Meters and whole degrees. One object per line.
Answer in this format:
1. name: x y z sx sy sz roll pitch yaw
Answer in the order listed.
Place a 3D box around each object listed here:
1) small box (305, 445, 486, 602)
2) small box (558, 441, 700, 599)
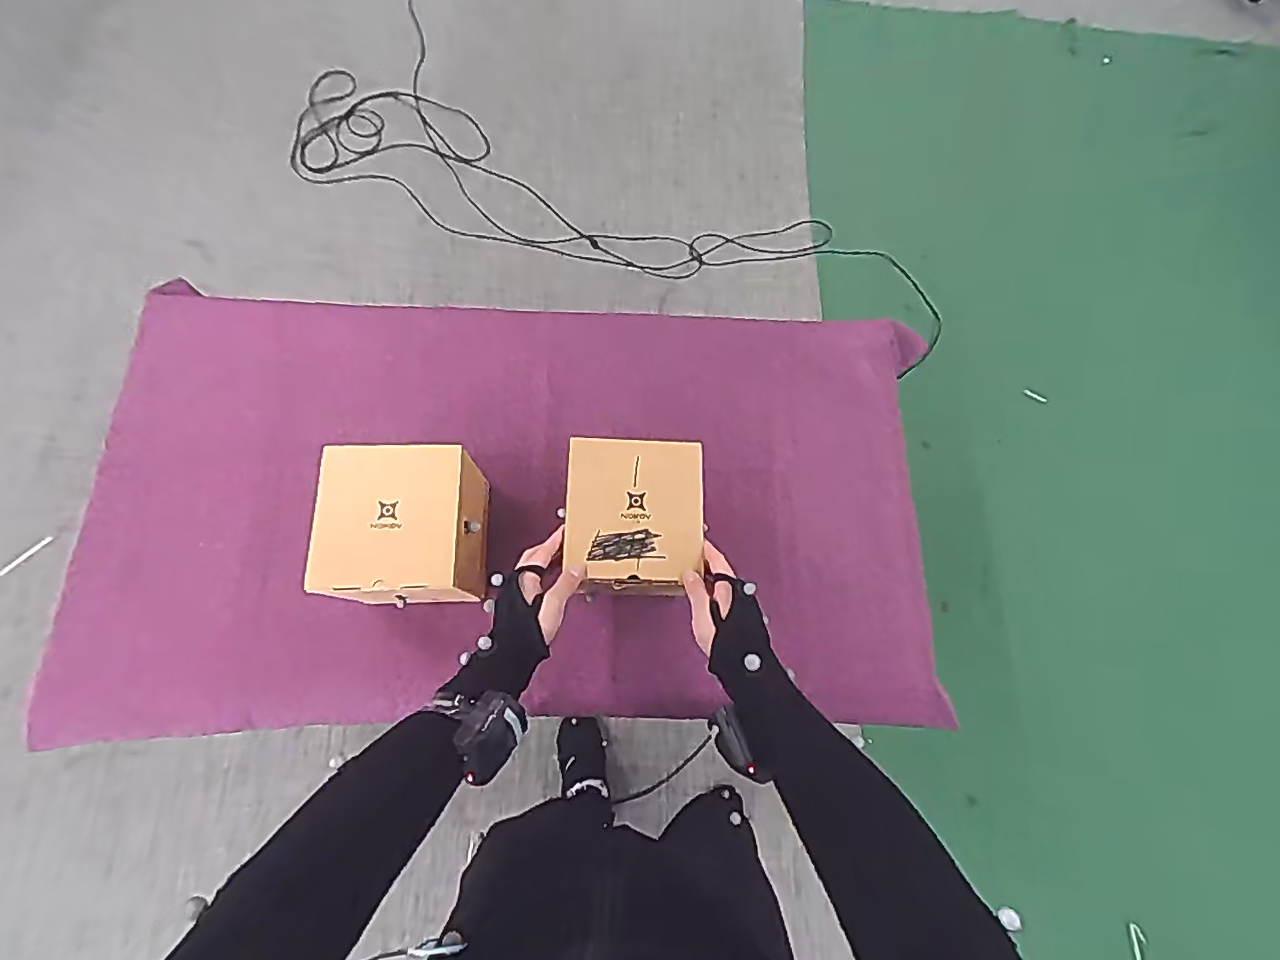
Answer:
1. small box: -0.303 0.065 0.710 0.168 0.176 0.179 0 74 -5
2. small box: -0.014 0.062 0.720 0.168 0.176 0.179 3 72 -4
